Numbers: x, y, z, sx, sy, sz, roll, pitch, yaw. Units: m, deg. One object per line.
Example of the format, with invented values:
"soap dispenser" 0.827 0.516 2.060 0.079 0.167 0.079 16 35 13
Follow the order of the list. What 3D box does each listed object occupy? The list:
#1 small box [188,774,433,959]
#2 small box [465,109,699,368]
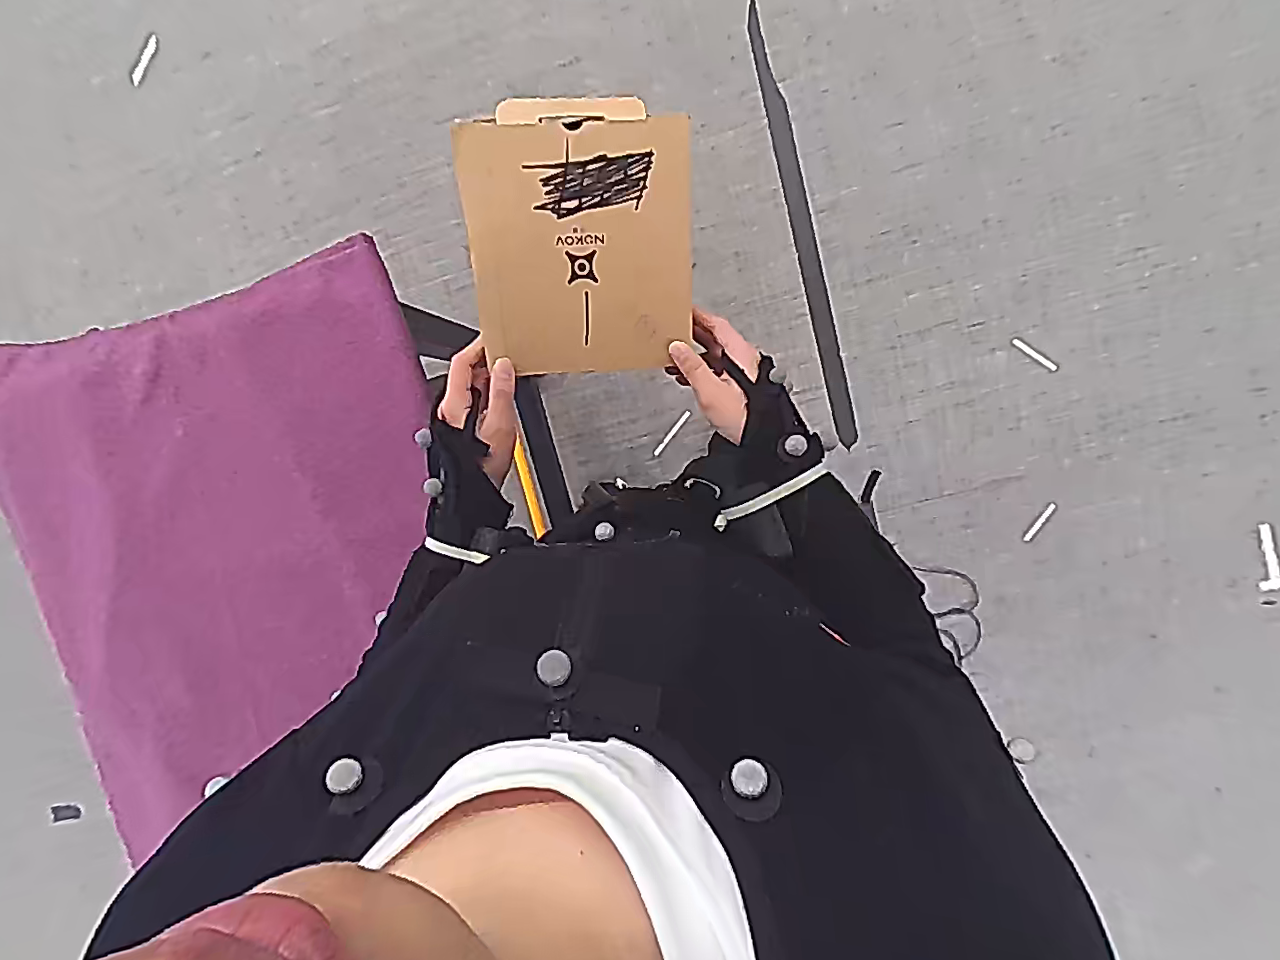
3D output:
"small box" -0.380 0.499 0.657 0.168 0.176 0.179 -14 94 7
"small box" -0.045 -0.200 0.476 0.168 0.176 0.179 -3 111 -4
